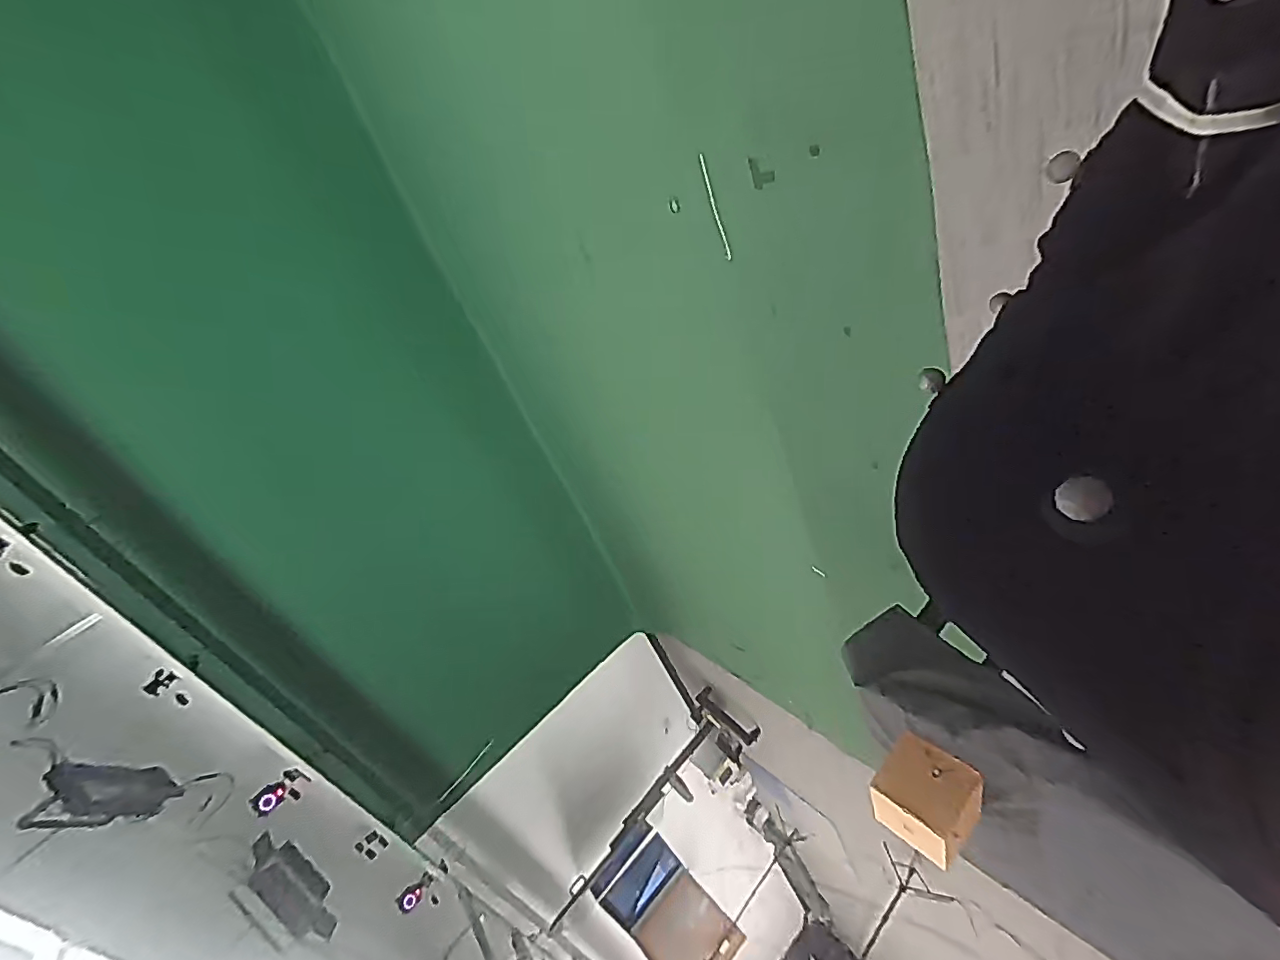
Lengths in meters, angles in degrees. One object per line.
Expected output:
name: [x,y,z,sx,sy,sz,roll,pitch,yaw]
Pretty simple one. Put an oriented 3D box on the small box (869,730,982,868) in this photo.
small box: [0.644,0.710,1.215,0.168,0.176,0.179,22,143,48]
